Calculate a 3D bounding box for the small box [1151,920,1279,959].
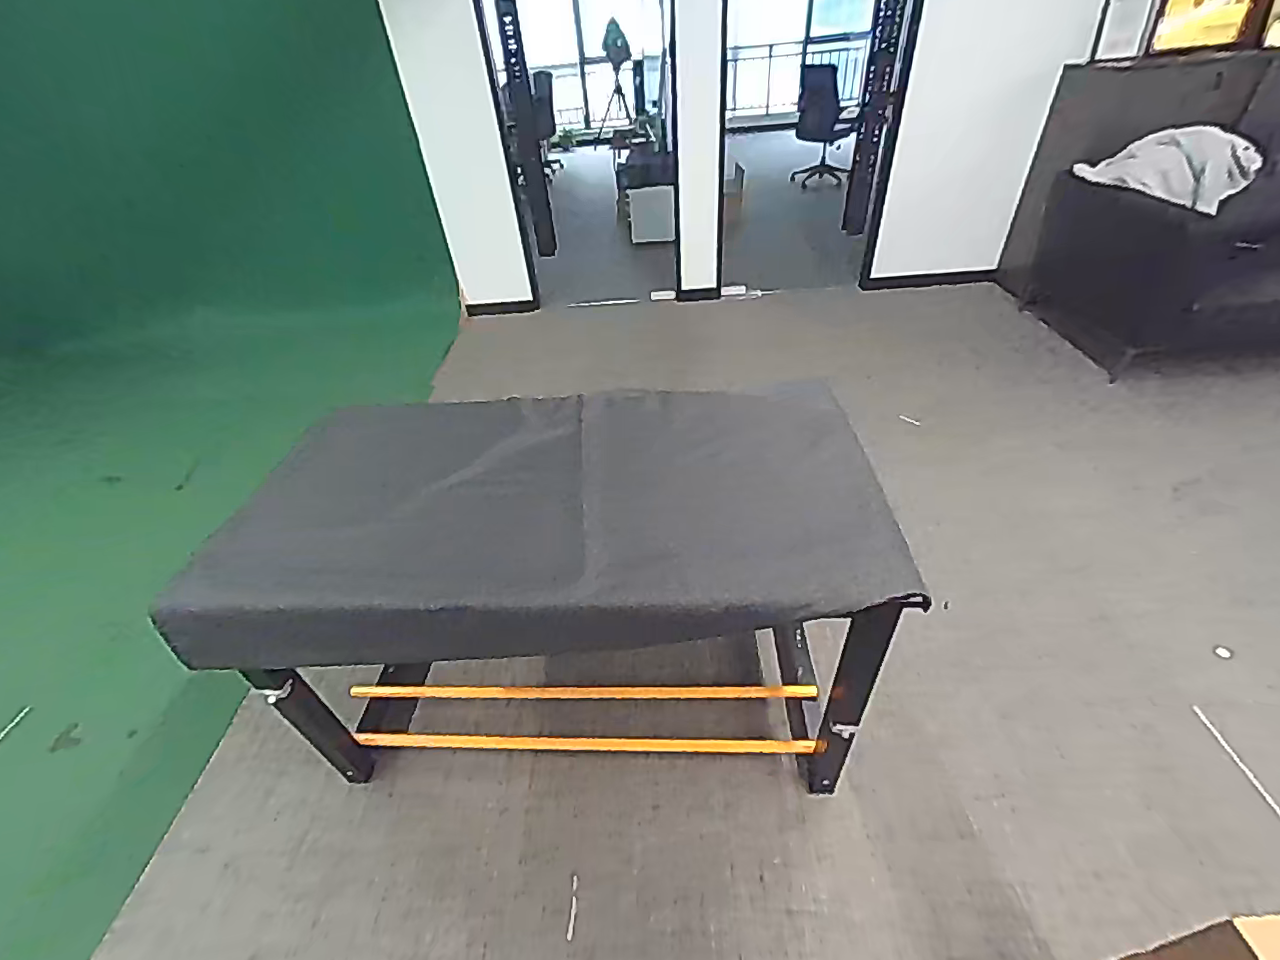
[{"bbox_3d":[0.679,0.556,0.527,0.168,0.176,0.179,-4,39,0],"label":"small box"}]
